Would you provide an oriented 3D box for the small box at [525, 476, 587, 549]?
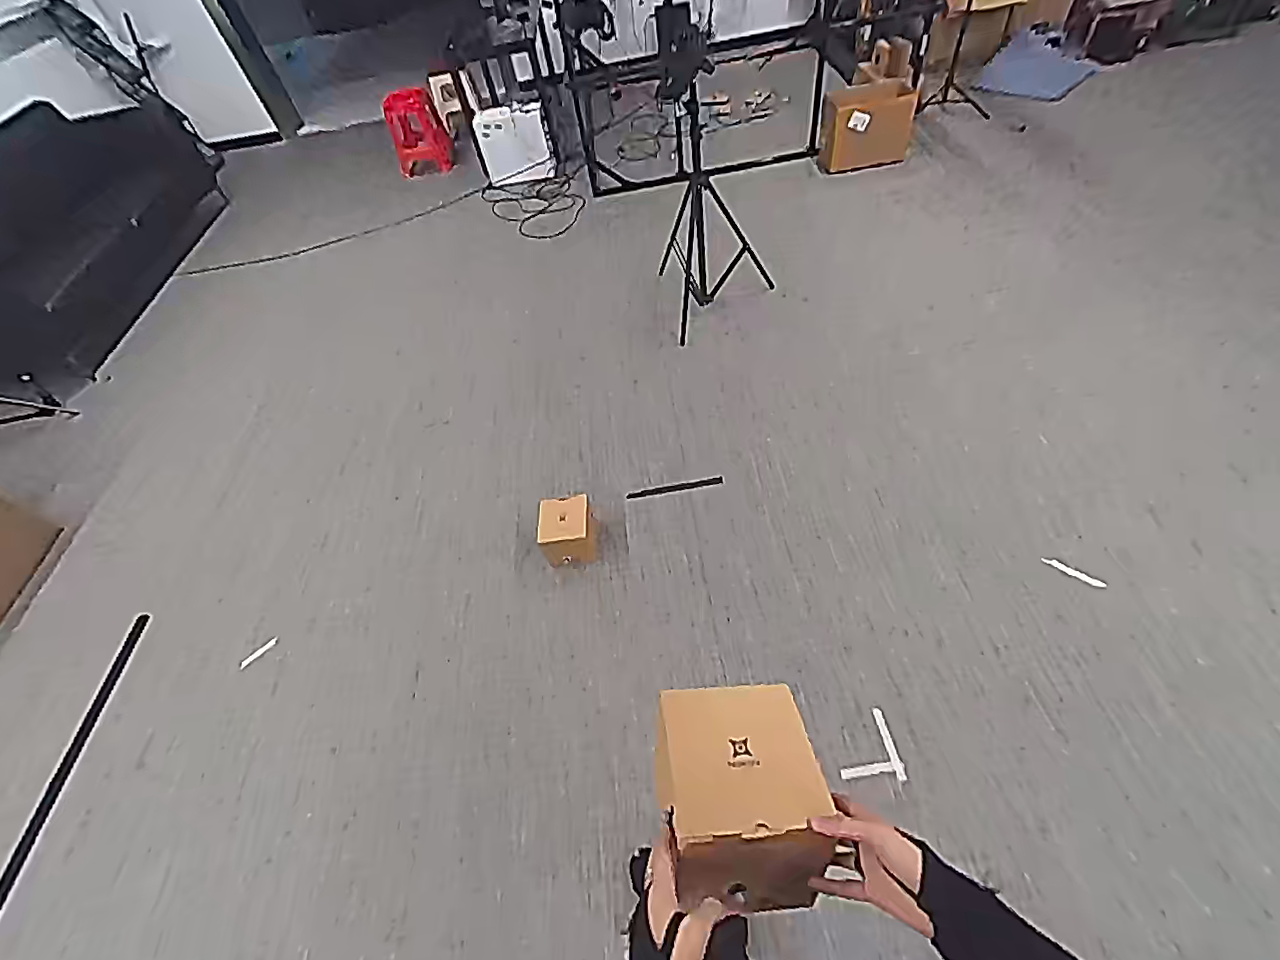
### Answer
[{"bbox_3d":[-0.276,0.110,1.815,0.168,0.176,0.179,-8,52,5],"label":"small box"}]

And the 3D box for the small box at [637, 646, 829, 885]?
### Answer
[{"bbox_3d":[0.087,0.315,0.612,0.168,0.176,0.179,-2,31,-6],"label":"small box"}]
